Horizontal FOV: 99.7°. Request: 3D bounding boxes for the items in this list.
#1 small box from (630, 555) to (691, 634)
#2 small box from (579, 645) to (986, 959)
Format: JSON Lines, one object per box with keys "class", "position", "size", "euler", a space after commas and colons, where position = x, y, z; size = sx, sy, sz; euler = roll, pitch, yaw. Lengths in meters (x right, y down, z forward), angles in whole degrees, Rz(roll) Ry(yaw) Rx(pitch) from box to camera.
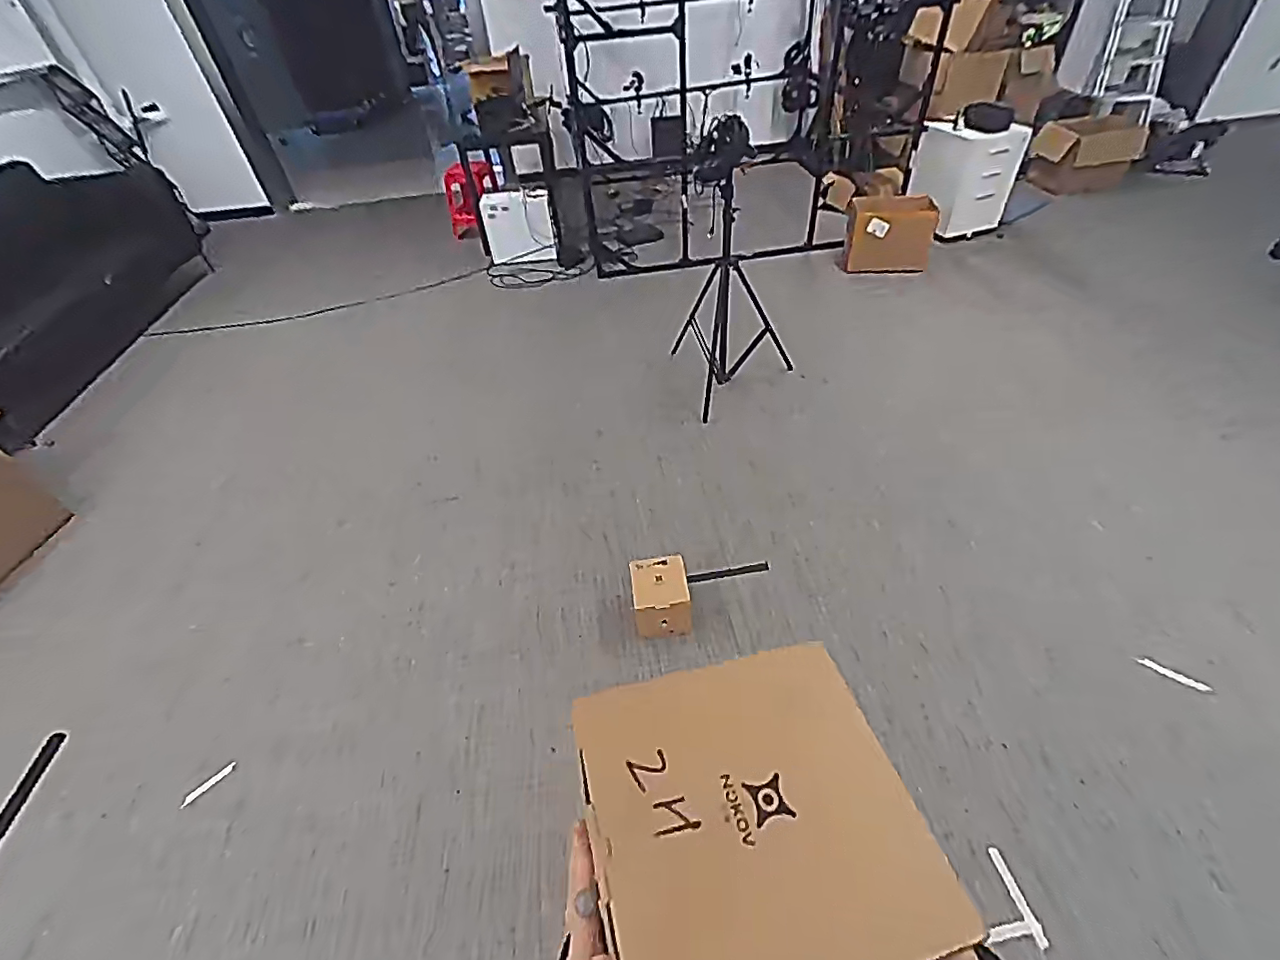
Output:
{"class": "small box", "position": [0.064, 0.359, 1.665], "size": [0.168, 0.176, 0.179], "euler": [-7, 45, -1]}
{"class": "small box", "position": [0.060, 0.236, 0.348], "size": [0.179, 0.176, 0.168], "euler": [-9, 43, -12]}
